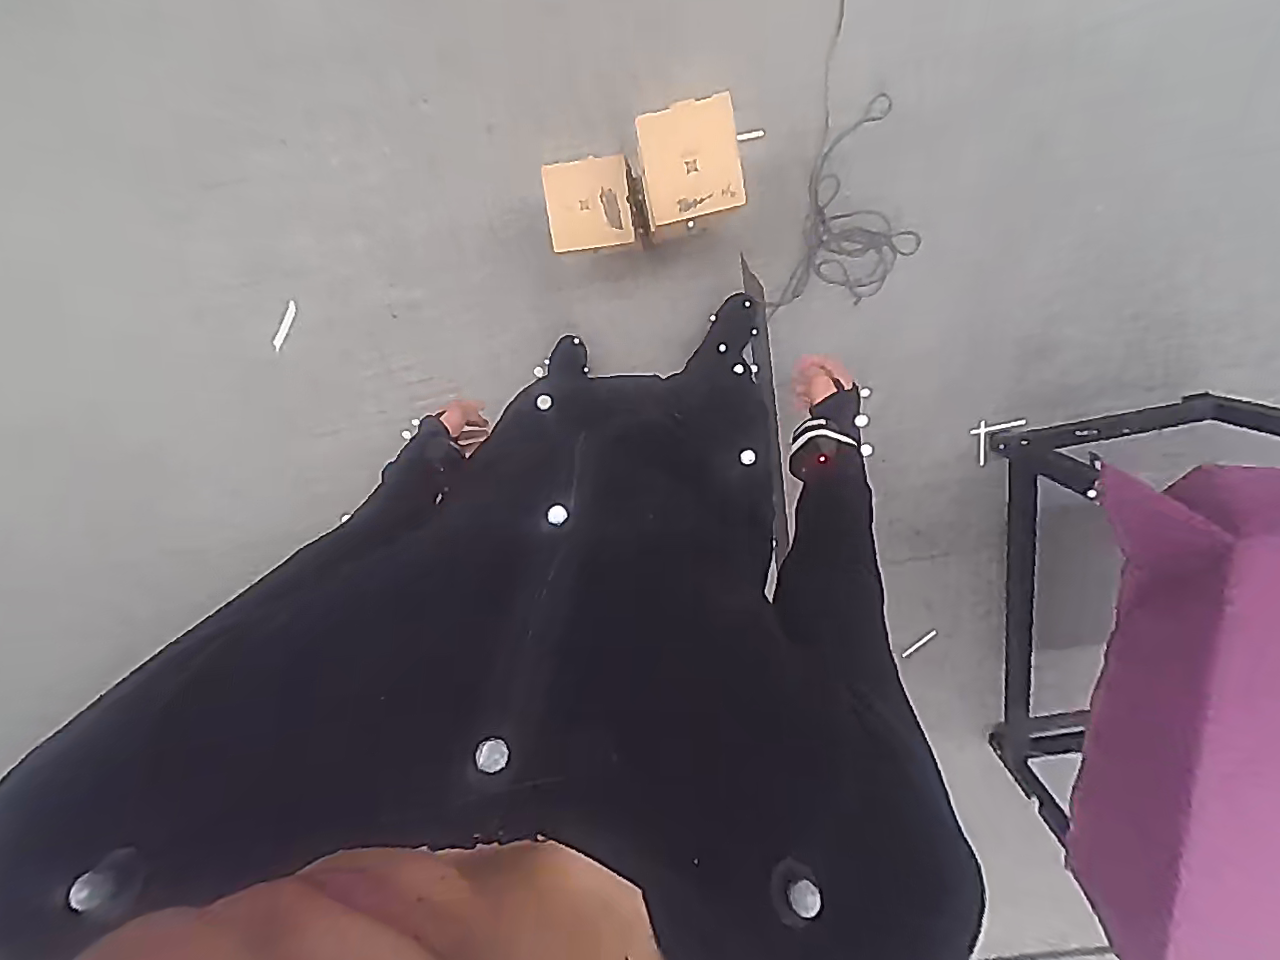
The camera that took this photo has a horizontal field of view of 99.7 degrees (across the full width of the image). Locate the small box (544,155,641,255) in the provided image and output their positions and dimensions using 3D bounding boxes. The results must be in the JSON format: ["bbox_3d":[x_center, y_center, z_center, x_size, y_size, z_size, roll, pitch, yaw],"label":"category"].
[{"bbox_3d":[-0.093,-0.587,1.173,0.179,0.176,0.168,-5,110,7],"label":"small box"}]

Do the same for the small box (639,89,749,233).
[{"bbox_3d":[0.096,-0.570,0.992,0.168,0.176,0.179,-11,108,8],"label":"small box"}]
